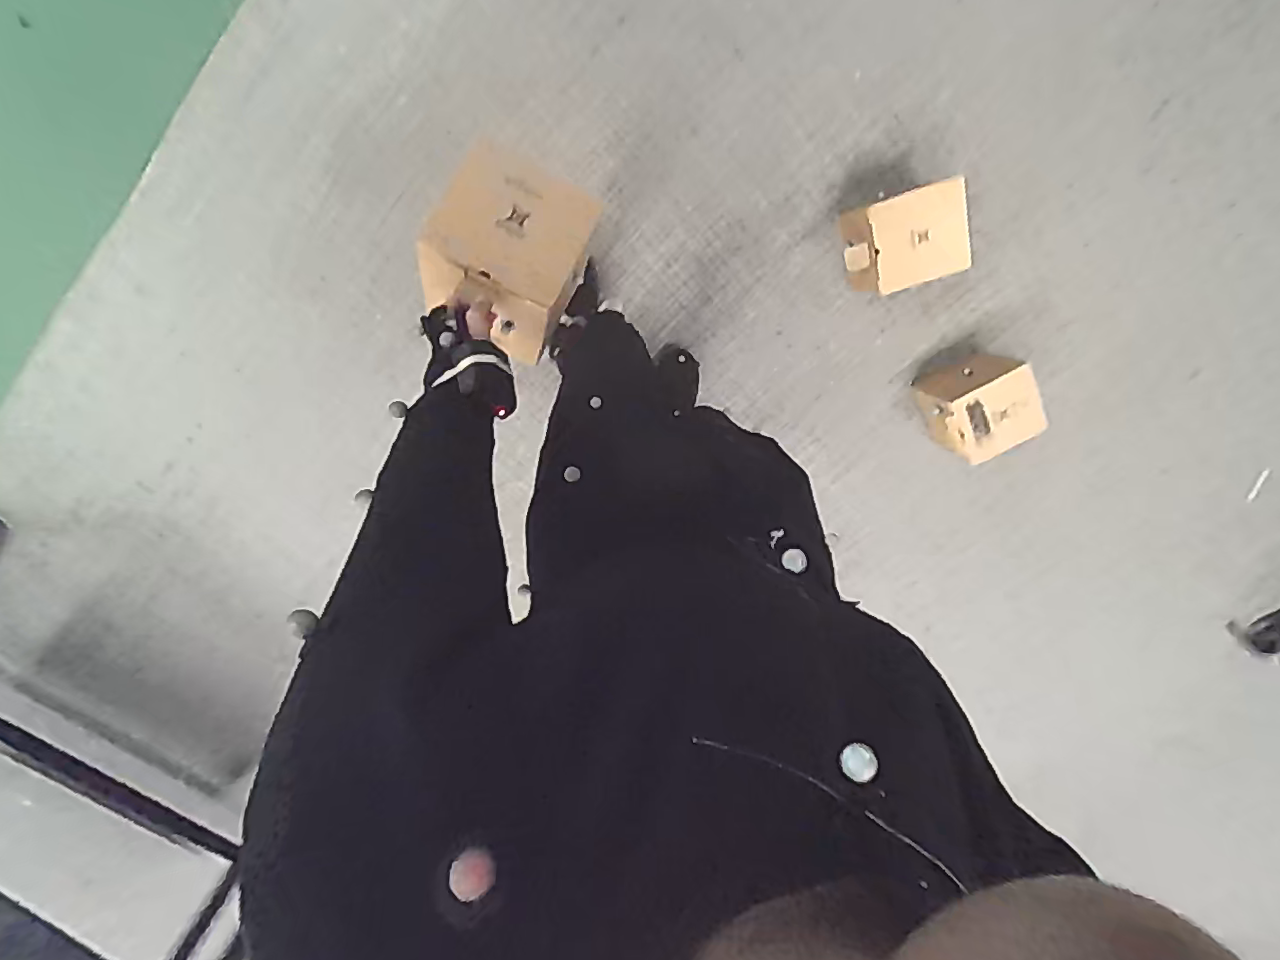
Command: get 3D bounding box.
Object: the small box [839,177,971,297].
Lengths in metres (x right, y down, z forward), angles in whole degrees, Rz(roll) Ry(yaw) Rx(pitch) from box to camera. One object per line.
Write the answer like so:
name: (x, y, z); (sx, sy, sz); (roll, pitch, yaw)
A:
small box: (0.519, -0.478, 1.072); (0.179, 0.176, 0.168); (-17, 112, 7)
